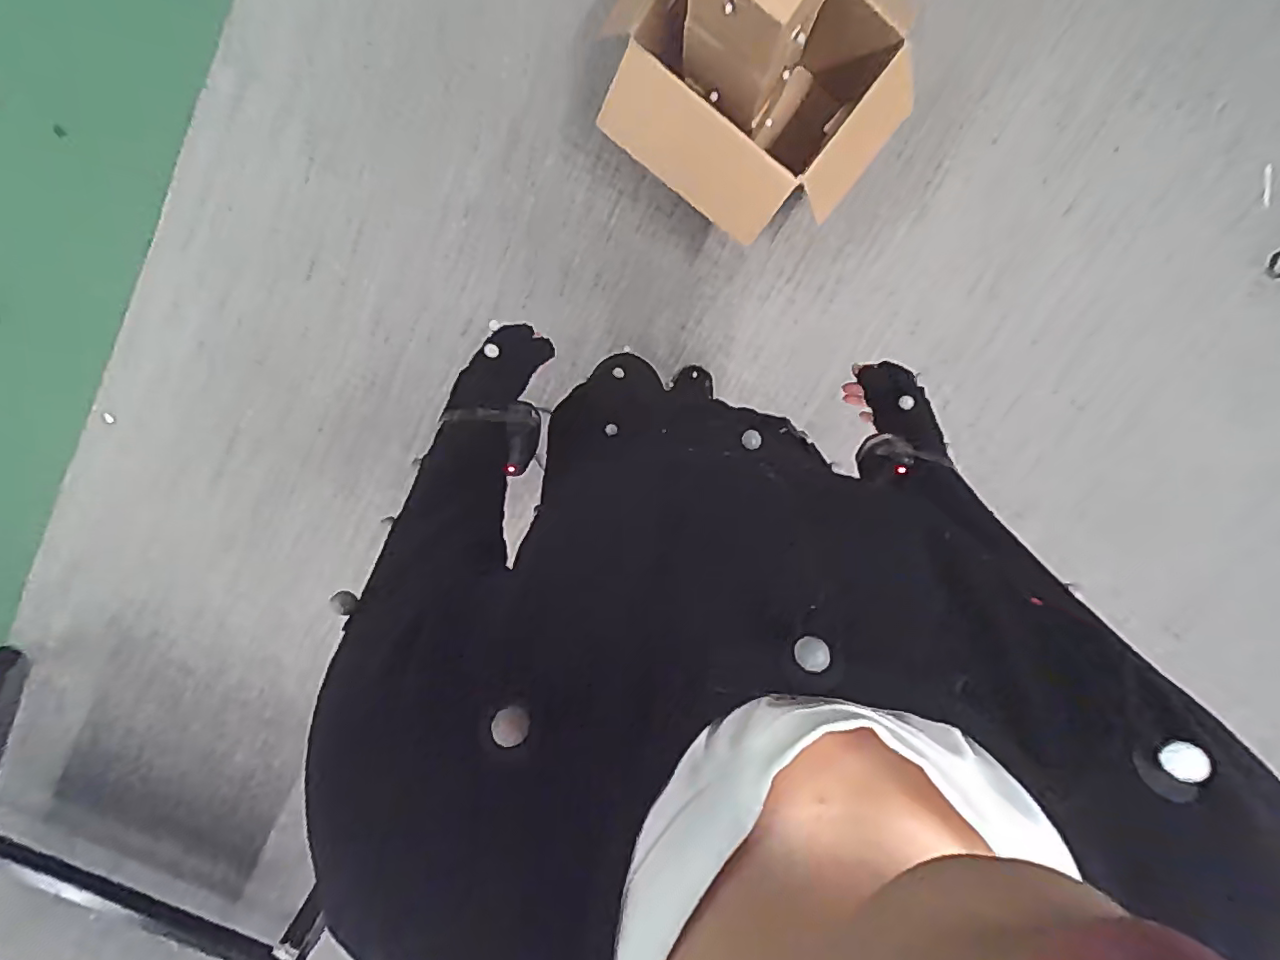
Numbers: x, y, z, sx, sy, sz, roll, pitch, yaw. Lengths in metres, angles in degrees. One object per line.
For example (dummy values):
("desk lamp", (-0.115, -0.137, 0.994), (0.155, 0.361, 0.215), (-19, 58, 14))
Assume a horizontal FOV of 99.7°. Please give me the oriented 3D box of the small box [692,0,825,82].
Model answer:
("small box", (0.196, -0.790, 0.859), (0.179, 0.176, 0.168), (35, 101, -5))
